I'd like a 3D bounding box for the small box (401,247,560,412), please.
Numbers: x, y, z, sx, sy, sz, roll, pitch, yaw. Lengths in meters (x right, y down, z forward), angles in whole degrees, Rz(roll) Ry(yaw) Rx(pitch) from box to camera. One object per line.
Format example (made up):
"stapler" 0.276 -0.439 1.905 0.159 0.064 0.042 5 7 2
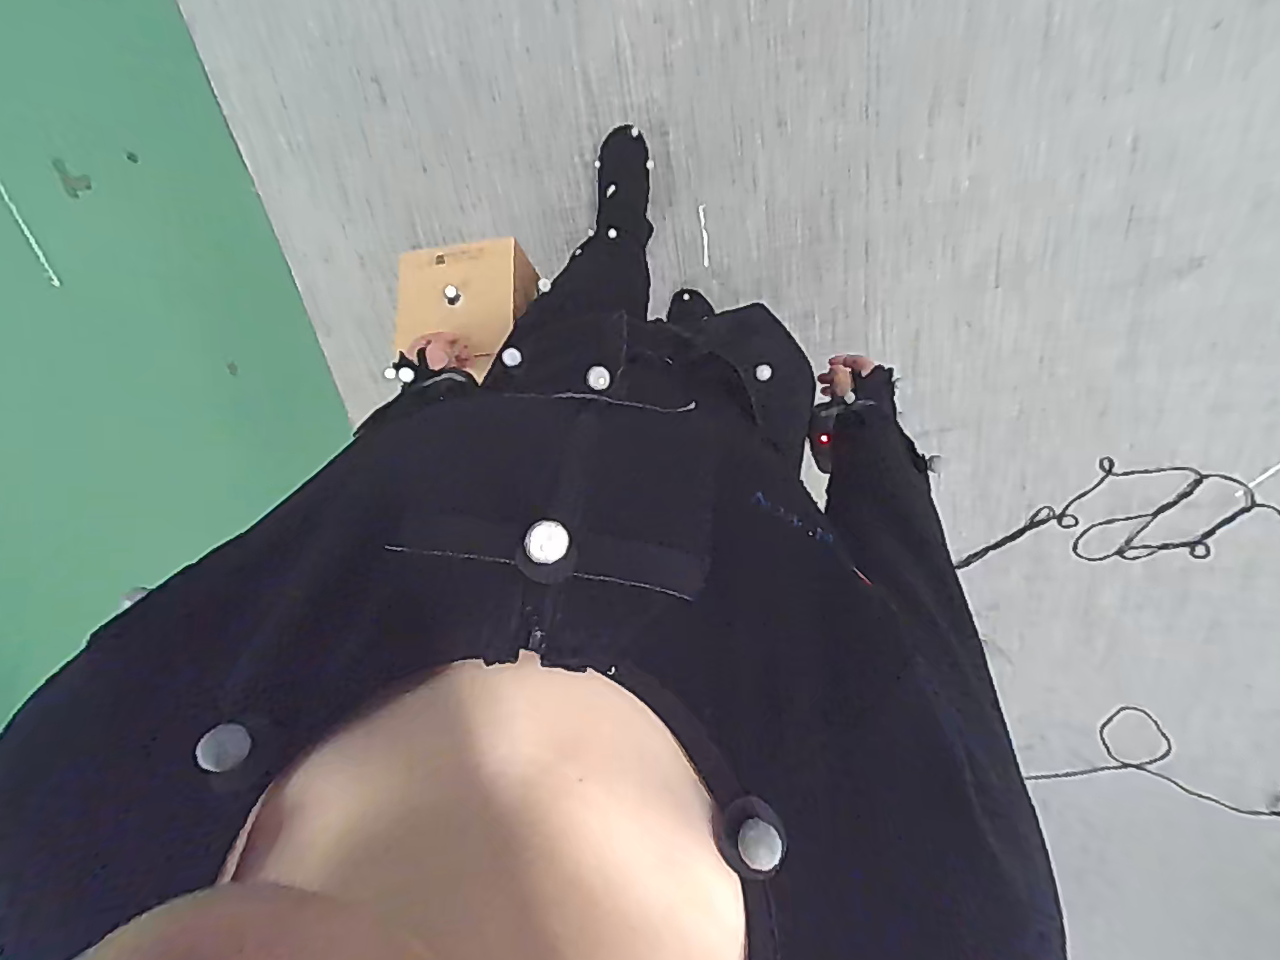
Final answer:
"small box" -0.224 -0.215 0.786 0.168 0.179 0.176 -7 77 10
